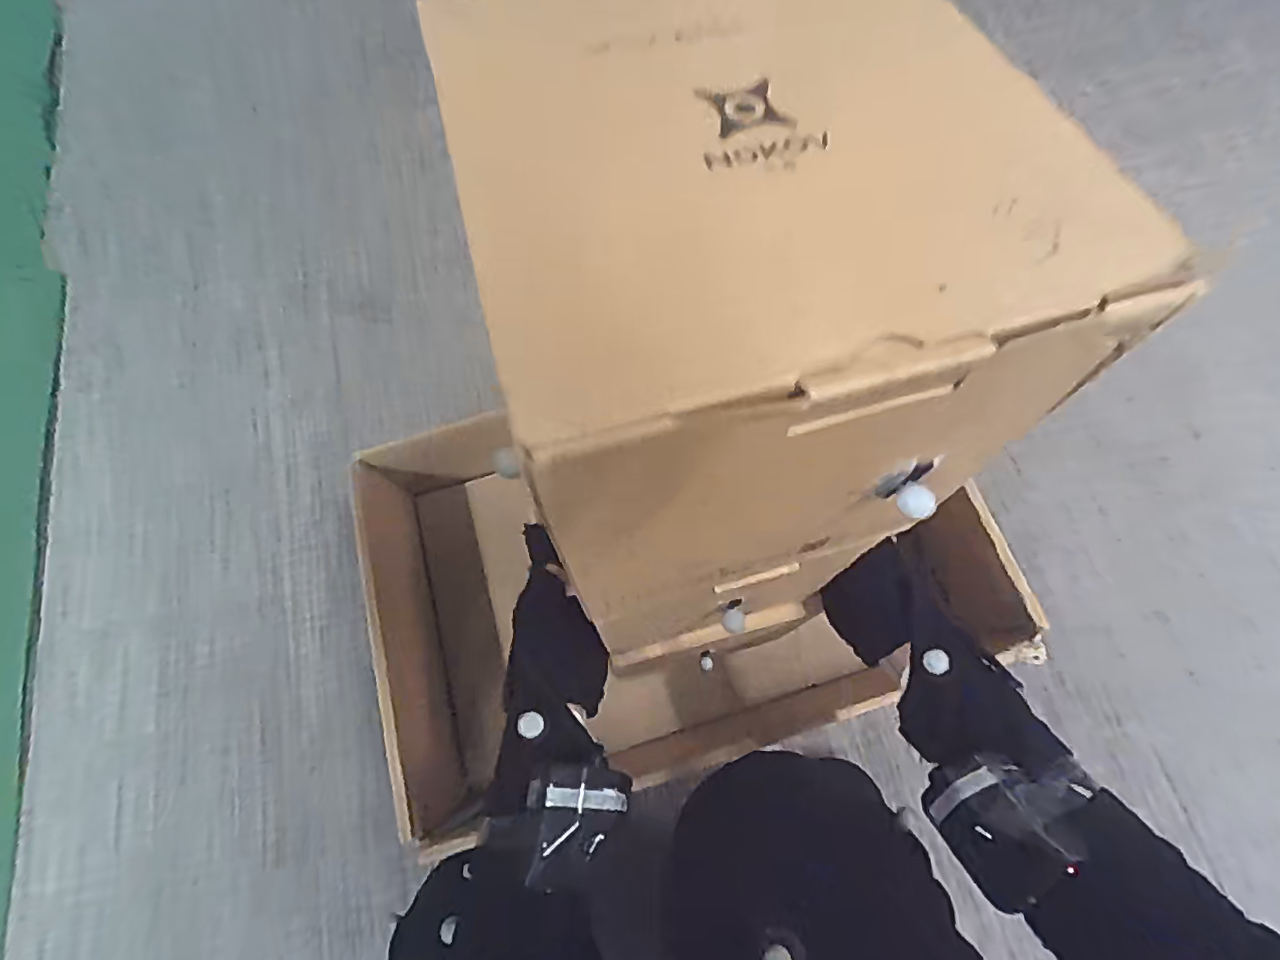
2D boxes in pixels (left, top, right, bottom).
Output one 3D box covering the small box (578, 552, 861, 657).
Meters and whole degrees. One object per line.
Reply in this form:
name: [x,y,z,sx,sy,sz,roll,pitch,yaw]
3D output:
small box: [0.028,0.022,0.402,0.168,0.176,0.179,-17,65,-6]
